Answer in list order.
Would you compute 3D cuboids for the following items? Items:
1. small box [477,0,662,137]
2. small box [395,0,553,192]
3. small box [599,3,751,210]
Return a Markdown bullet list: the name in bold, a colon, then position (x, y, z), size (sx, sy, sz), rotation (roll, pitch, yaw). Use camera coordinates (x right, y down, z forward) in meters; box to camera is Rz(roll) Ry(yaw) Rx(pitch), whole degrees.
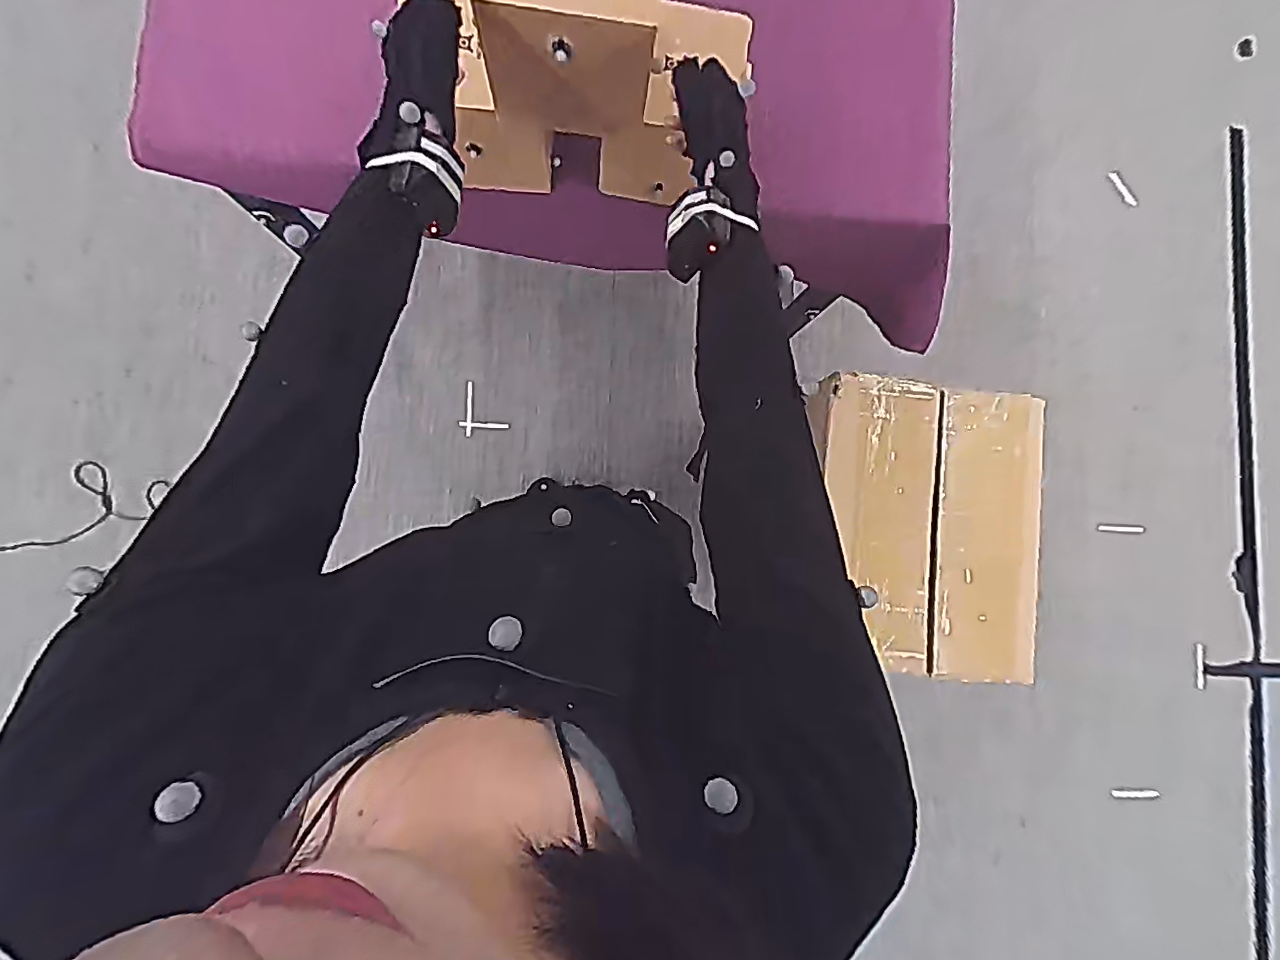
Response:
- **small box**: position (-0.069, -0.507, 0.582), size (0.179, 0.176, 0.168), rotation (4, 88, -7)
- **small box**: position (-0.209, -0.518, 0.731), size (0.179, 0.176, 0.168), rotation (2, 86, -4)
- **small box**: position (0.040, -0.508, 0.758), size (0.179, 0.176, 0.168), rotation (7, 85, -5)
